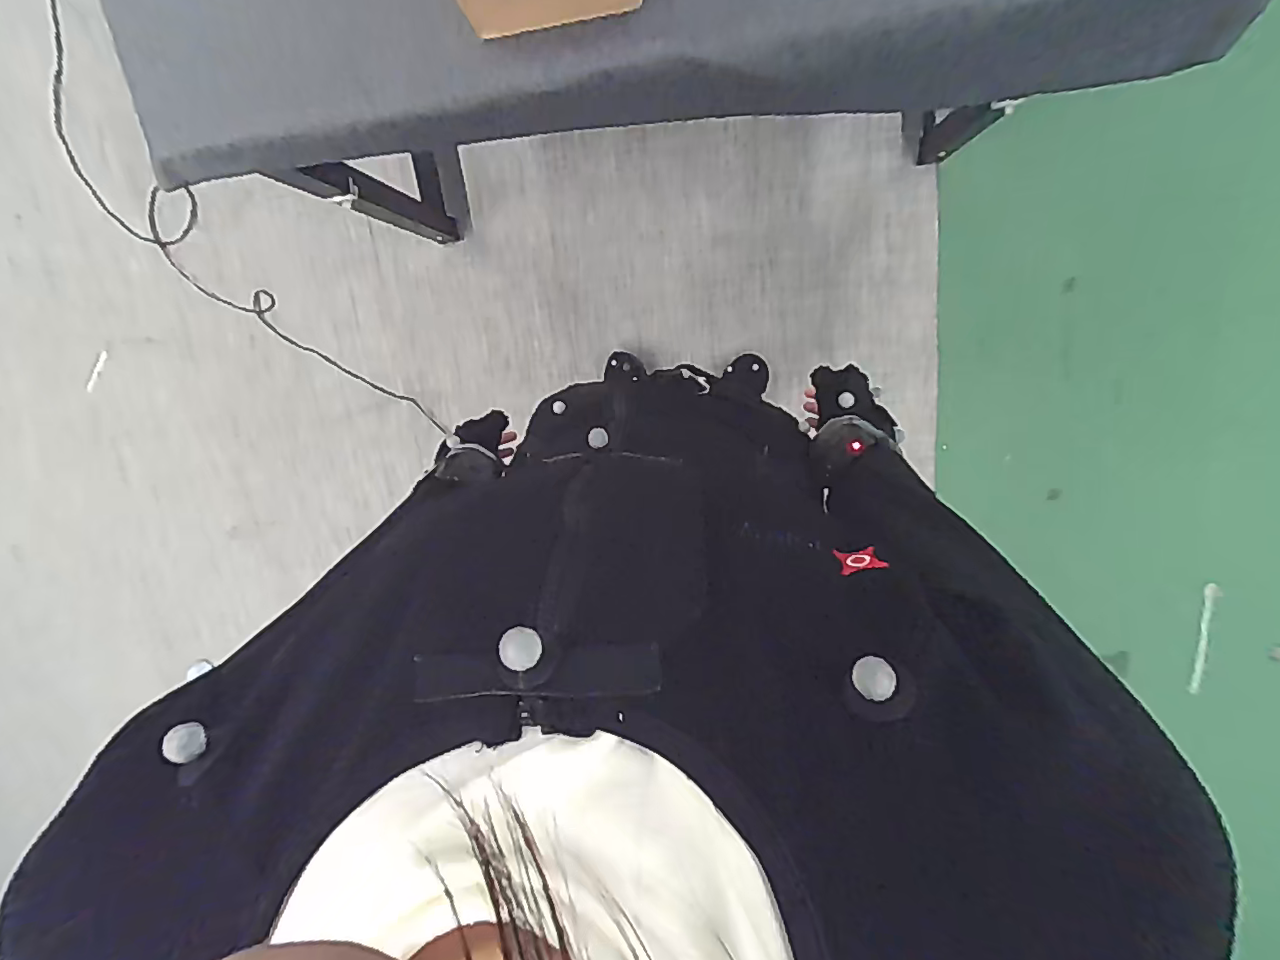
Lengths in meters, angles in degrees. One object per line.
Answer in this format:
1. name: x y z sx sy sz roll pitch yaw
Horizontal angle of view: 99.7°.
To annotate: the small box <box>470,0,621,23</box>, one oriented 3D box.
1. small box: -0.099 -0.546 0.470 0.179 0.176 0.168 -5 103 6
